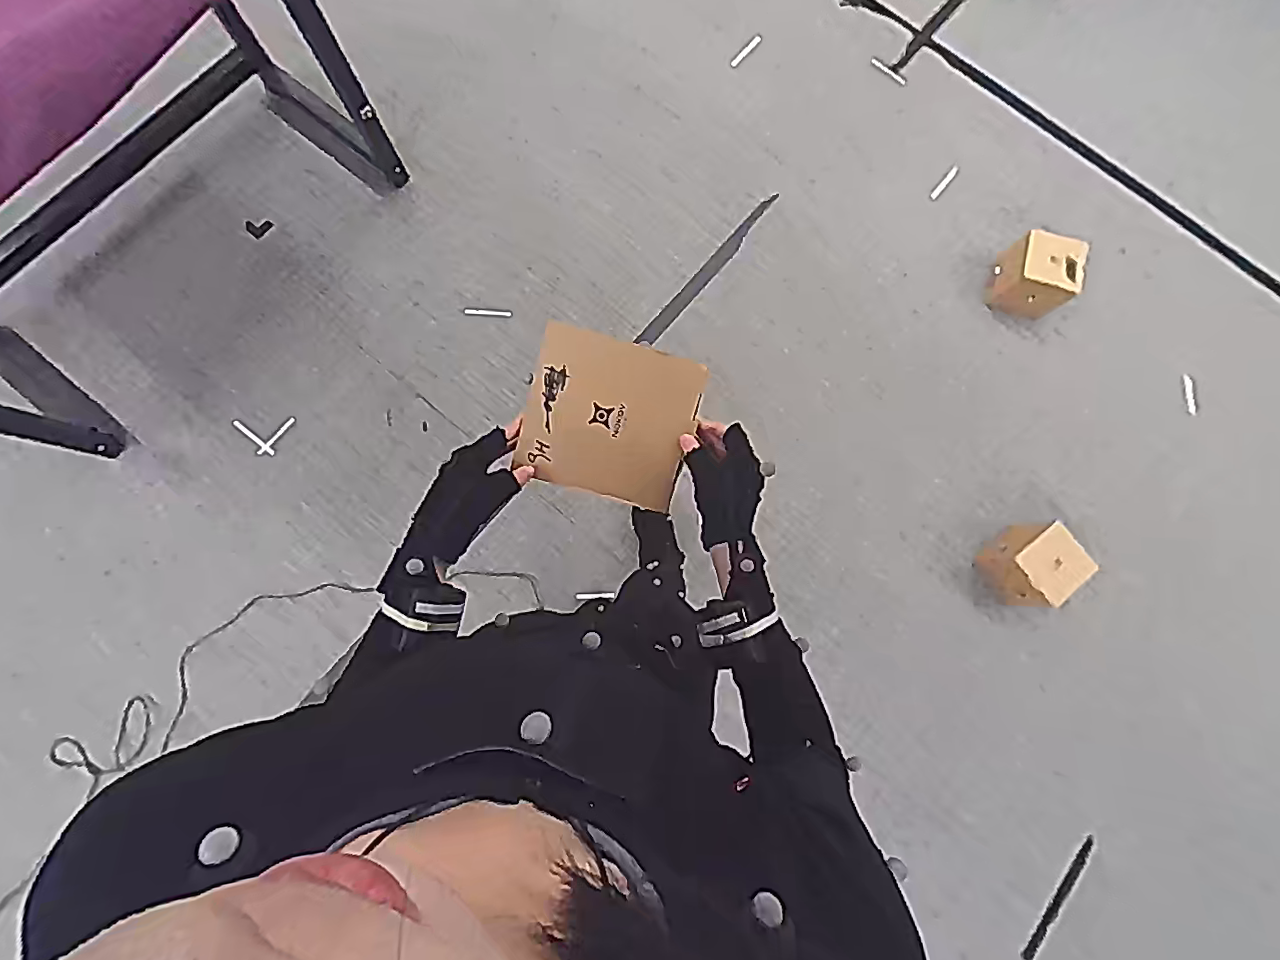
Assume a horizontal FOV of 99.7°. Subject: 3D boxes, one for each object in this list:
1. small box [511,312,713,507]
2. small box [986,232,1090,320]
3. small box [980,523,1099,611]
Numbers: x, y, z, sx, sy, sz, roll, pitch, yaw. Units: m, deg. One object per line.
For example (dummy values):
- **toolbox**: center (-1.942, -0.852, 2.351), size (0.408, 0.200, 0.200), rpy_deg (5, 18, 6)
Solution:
- **small box**: center (-0.033, -0.081, 0.634), size (0.179, 0.176, 0.168), rpy_deg (15, 96, -4)
- **small box**: center (1.204, -0.612, 1.644), size (0.179, 0.176, 0.168), rpy_deg (17, 79, 1)
- **small box**: center (1.088, 0.240, 1.494), size (0.179, 0.176, 0.168), rpy_deg (-37, 85, -9)
